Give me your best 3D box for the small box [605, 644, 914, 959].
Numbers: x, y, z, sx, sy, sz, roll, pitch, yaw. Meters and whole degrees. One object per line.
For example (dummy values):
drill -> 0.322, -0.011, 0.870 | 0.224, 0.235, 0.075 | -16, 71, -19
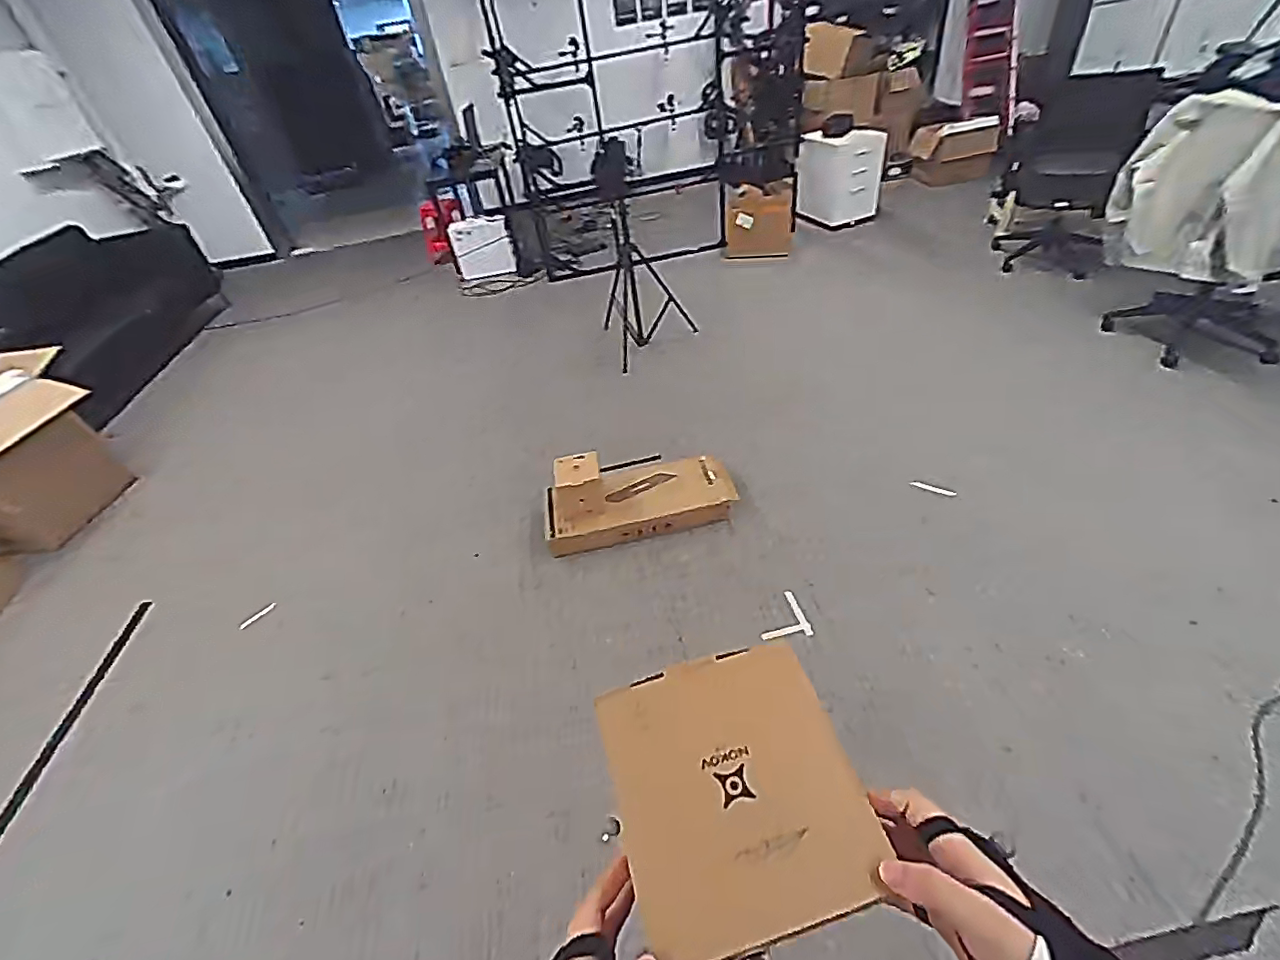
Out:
small box -> 0.075, 0.266, 0.435 | 0.168, 0.176, 0.179 | -14, 47, -7

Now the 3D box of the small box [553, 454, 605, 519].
small box -> -0.233, 0.032, 2.068 | 0.168, 0.176, 0.179 | -11, 41, -2
